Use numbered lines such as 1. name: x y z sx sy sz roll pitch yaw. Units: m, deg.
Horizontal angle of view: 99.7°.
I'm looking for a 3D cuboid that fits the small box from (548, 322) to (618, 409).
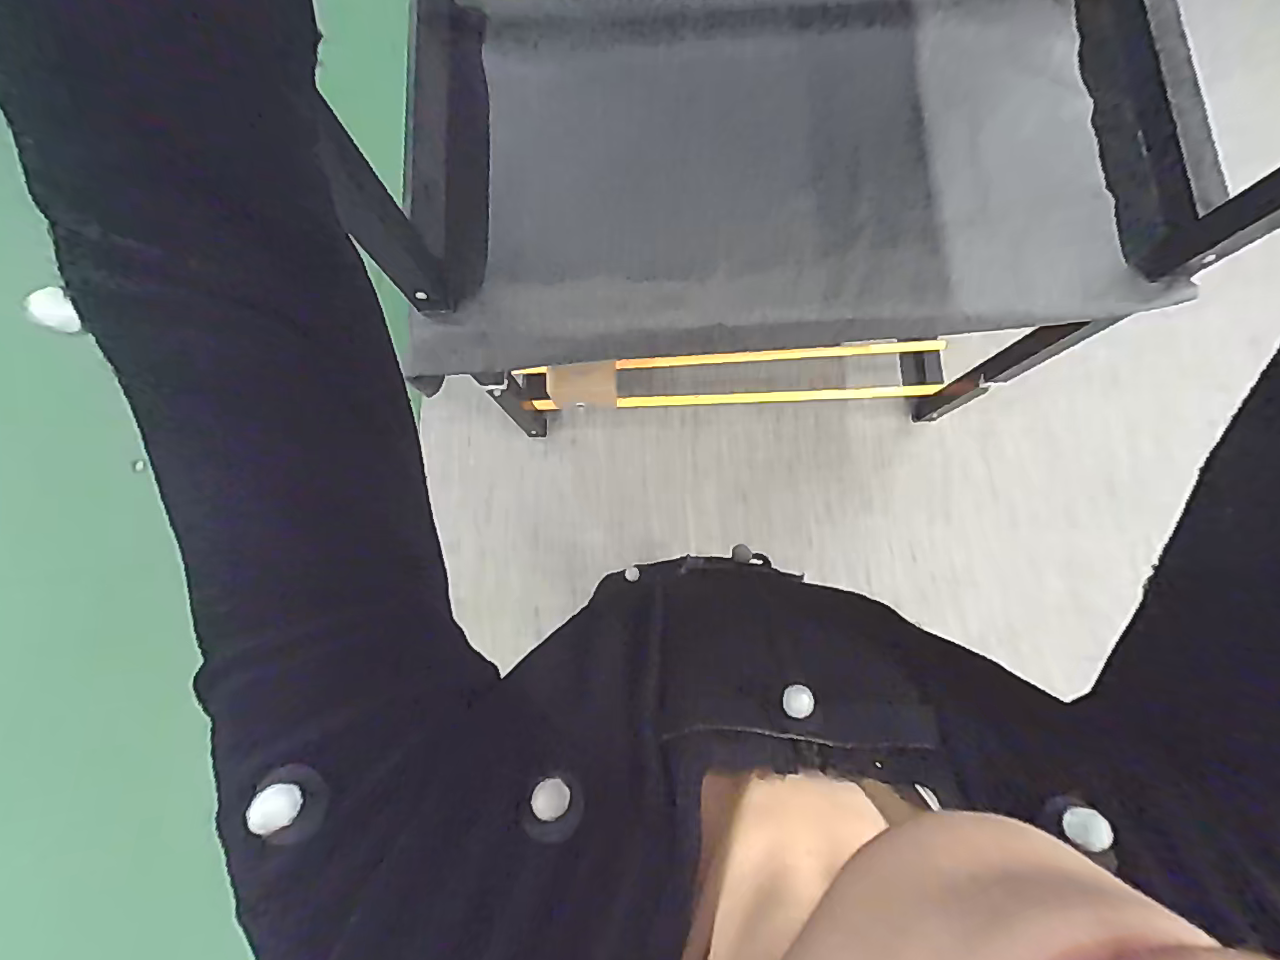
1. small box: -0.144 -0.293 1.407 0.168 0.176 0.179 -3 82 1
